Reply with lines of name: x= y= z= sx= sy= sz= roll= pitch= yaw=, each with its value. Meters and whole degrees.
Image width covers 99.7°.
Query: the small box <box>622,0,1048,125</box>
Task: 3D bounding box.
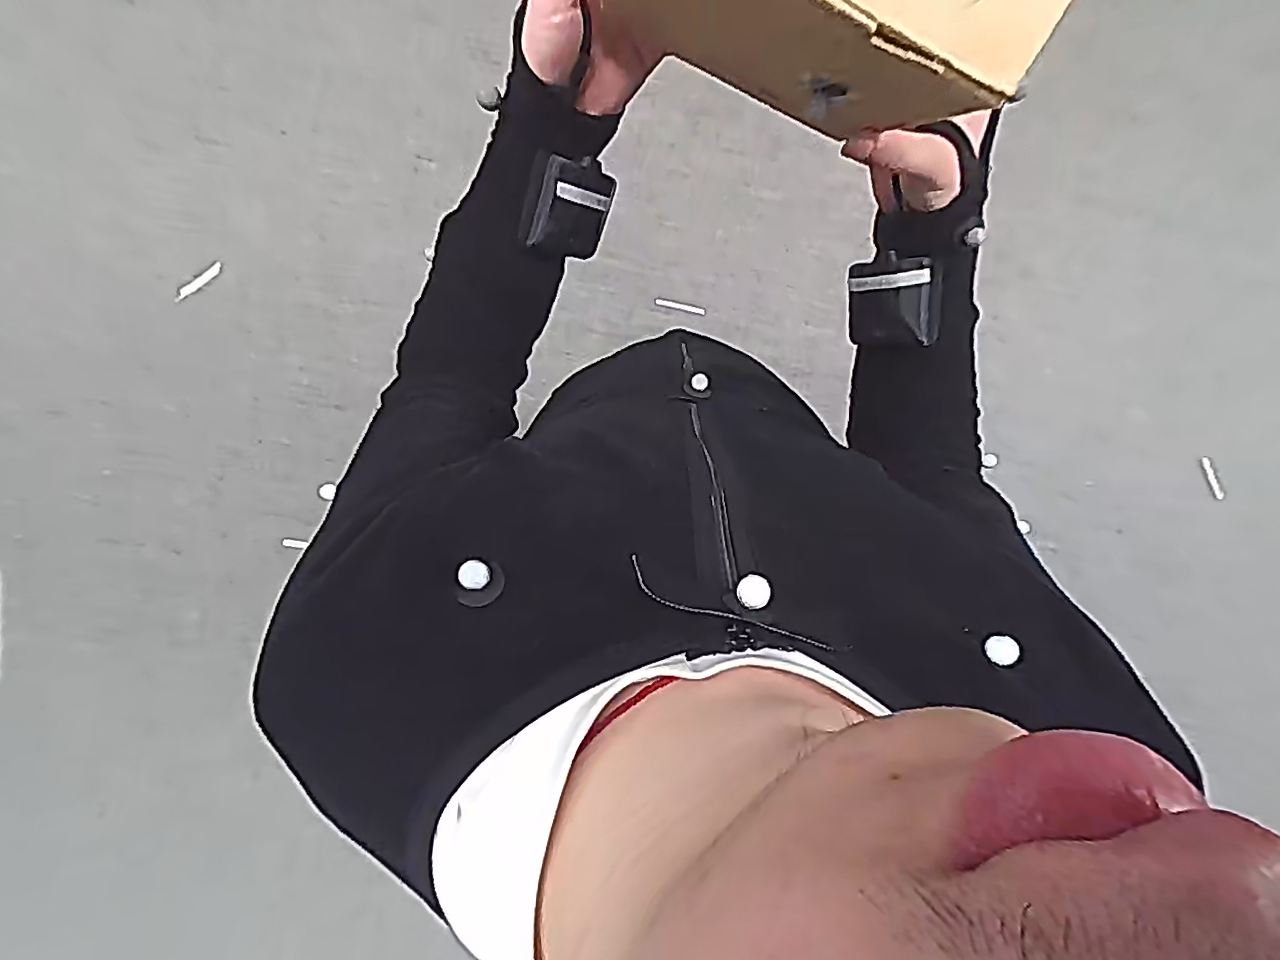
small box: x=0.089 y=-0.281 z=0.229 sx=0.168 sy=0.176 sz=0.179 roll=17 pitch=115 yaw=-14
